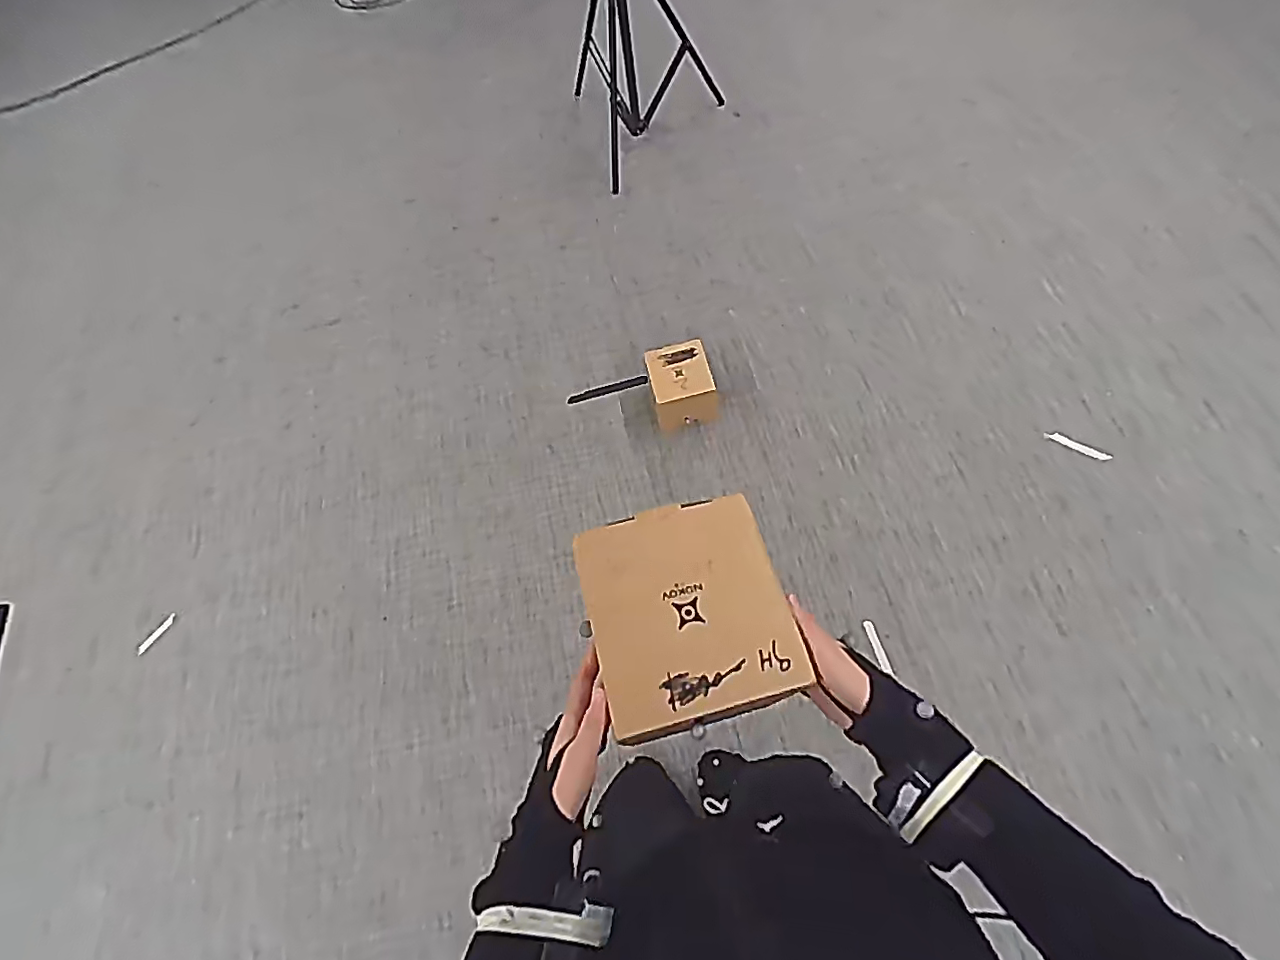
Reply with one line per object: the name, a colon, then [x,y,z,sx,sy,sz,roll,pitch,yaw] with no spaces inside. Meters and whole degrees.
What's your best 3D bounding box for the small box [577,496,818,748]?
small box: [0.040,0.143,0.521,0.168,0.176,0.179,-13,63,-7]
